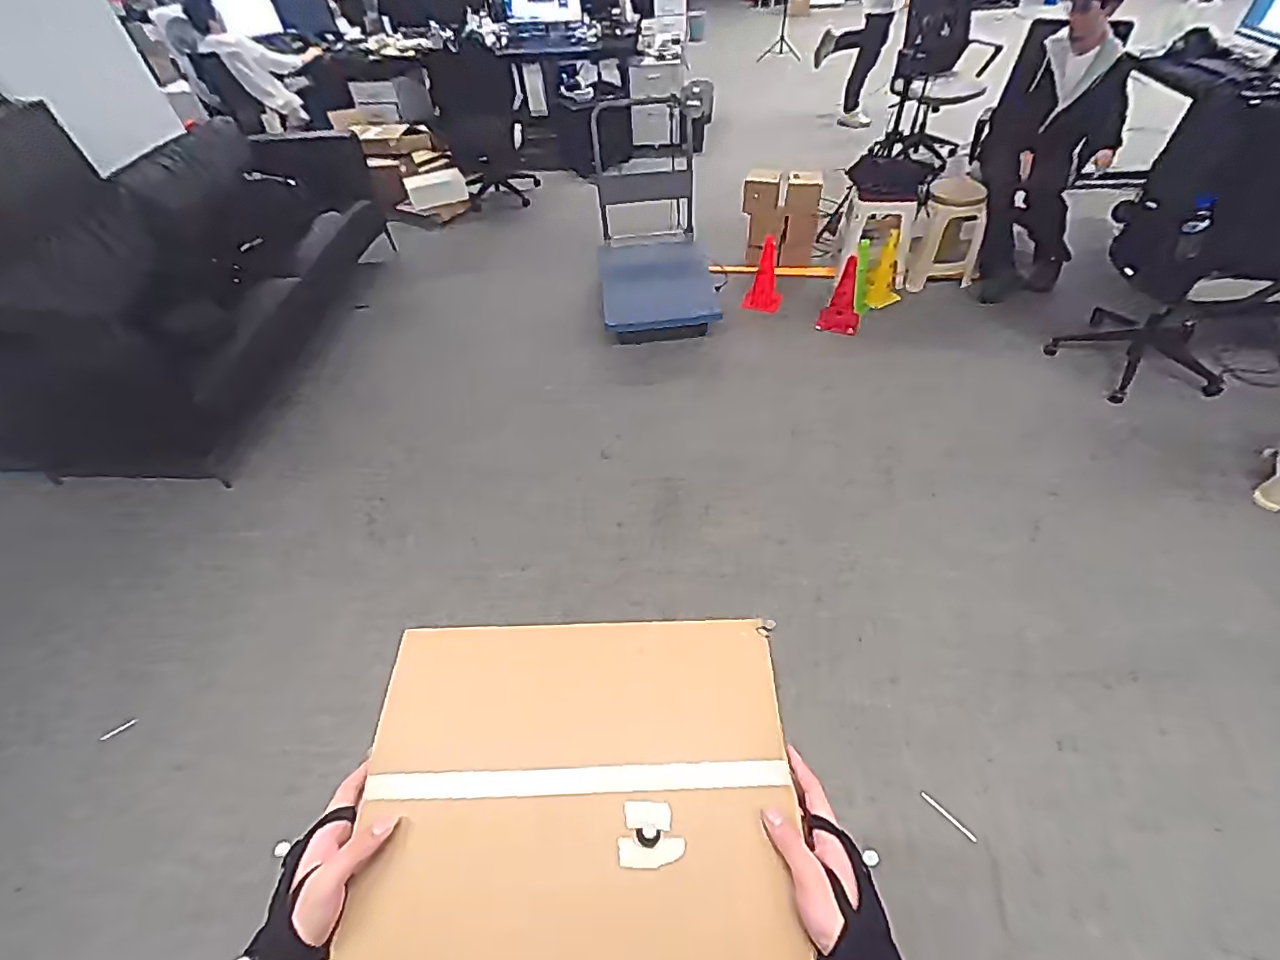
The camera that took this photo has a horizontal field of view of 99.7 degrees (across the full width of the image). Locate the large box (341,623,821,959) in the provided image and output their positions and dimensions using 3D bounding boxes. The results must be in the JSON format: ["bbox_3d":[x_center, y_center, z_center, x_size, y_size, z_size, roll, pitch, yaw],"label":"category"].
[{"bbox_3d":[-0.055,0.385,0.642,0.408,0.320,0.320,-1,52,-1],"label":"large box"}]
